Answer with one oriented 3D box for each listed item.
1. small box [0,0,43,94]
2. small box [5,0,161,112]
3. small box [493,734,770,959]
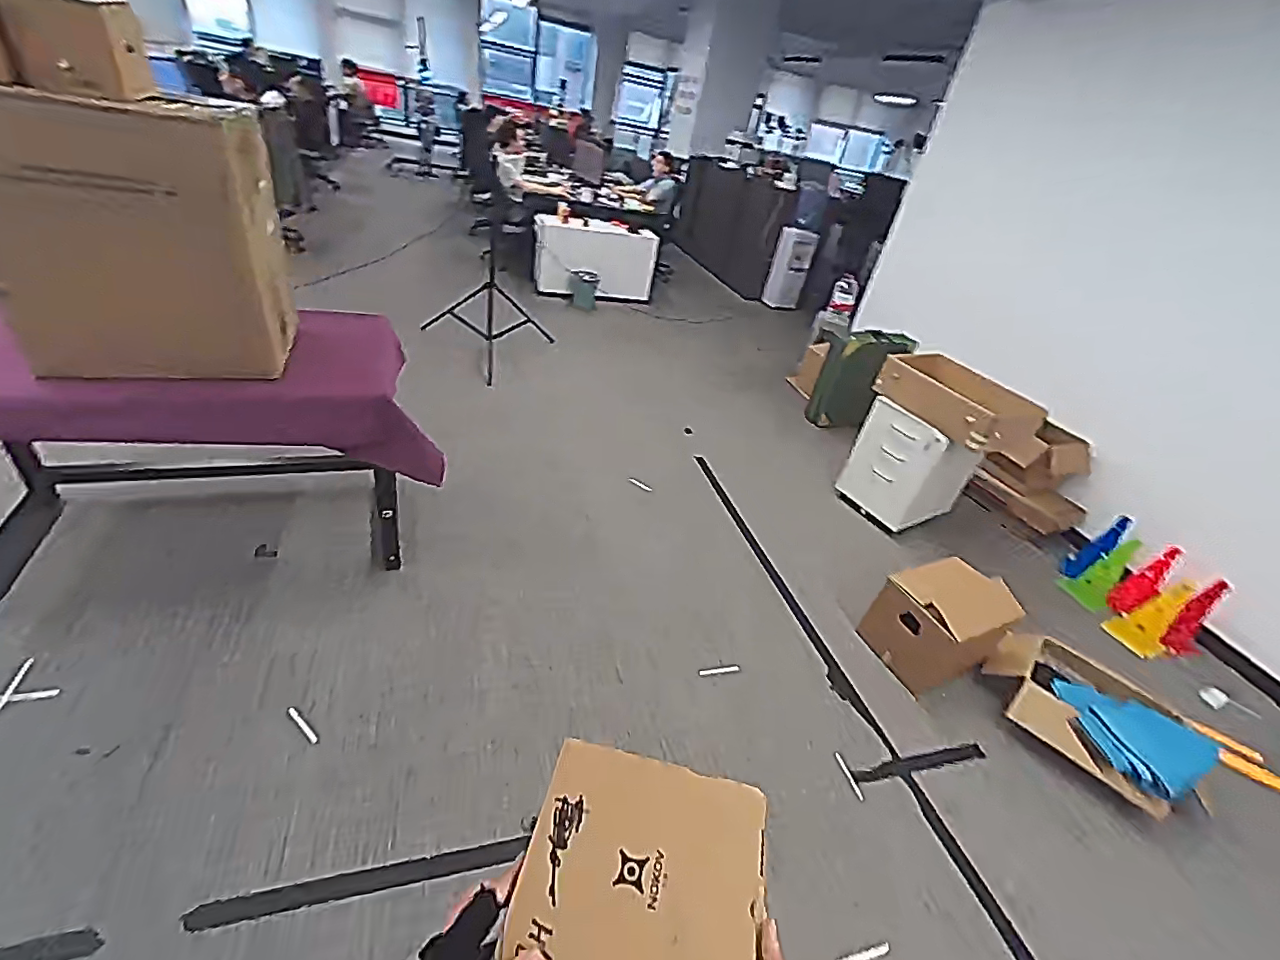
[{"bbox_3d":[-1.332,-0.873,1.054,0.179,0.176,0.168,-3,37,-25],"label":"small box"},{"bbox_3d":[-1.174,-0.910,1.158,0.168,0.176,0.179,-3,39,-20],"label":"small box"},{"bbox_3d":[-0.004,0.348,0.447,0.179,0.176,0.168,13,39,6],"label":"small box"}]
